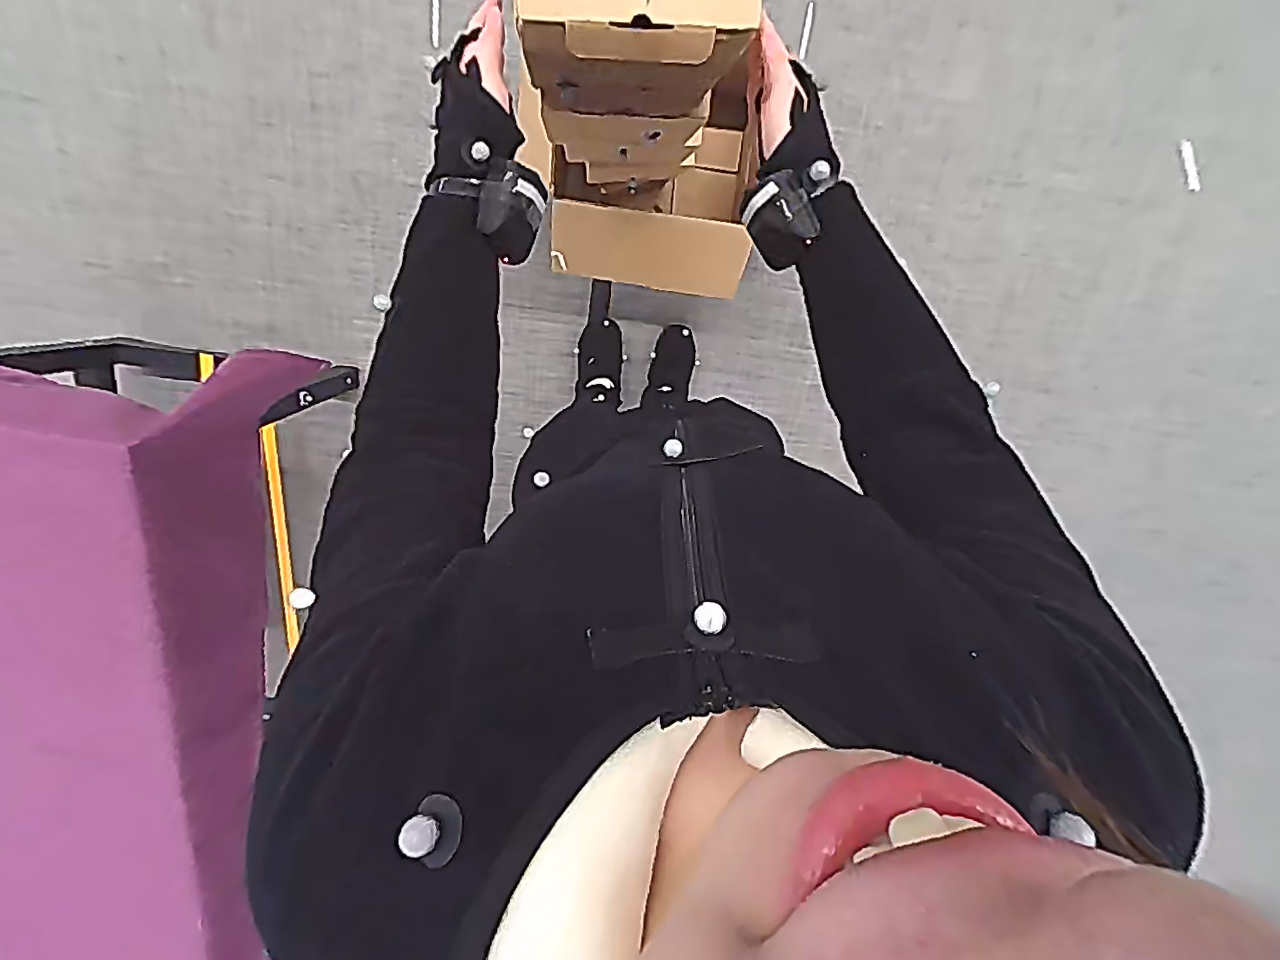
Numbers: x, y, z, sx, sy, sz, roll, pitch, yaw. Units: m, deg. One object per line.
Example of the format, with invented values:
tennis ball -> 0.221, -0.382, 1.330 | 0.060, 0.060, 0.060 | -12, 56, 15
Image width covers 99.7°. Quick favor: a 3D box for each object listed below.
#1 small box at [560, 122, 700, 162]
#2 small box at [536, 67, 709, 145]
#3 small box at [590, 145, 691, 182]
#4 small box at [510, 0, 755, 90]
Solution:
small box -> -0.017, -0.526, 0.711 | 0.179, 0.176, 0.168 | -1, 114, -6
small box -> -0.020, -0.463, 0.560 | 0.168, 0.176, 0.179 | -1, 113, -7
small box -> -0.017, -0.671, 1.008 | 0.179, 0.176, 0.168 | -15, 113, -1
small box -> -0.010, -0.415, 0.402 | 0.168, 0.176, 0.179 | -2, 113, -6
